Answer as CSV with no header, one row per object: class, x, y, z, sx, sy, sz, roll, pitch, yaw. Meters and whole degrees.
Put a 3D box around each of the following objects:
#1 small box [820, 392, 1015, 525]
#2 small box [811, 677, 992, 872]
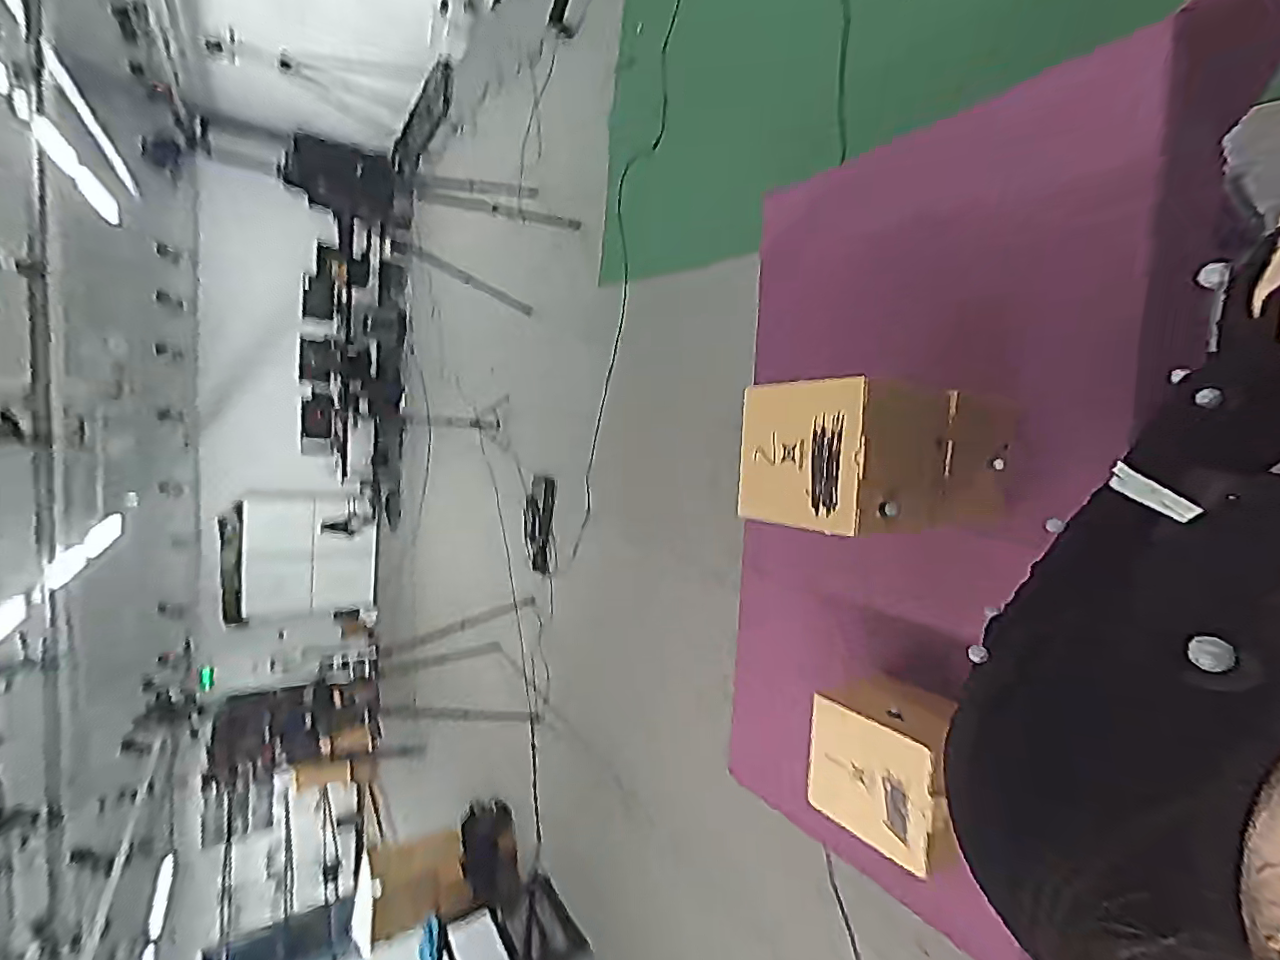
small box,0.386,-0.033,0.763,0.179,0.176,0.168,12,100,55
small box,0.374,0.400,0.776,0.179,0.176,0.168,6,94,57
